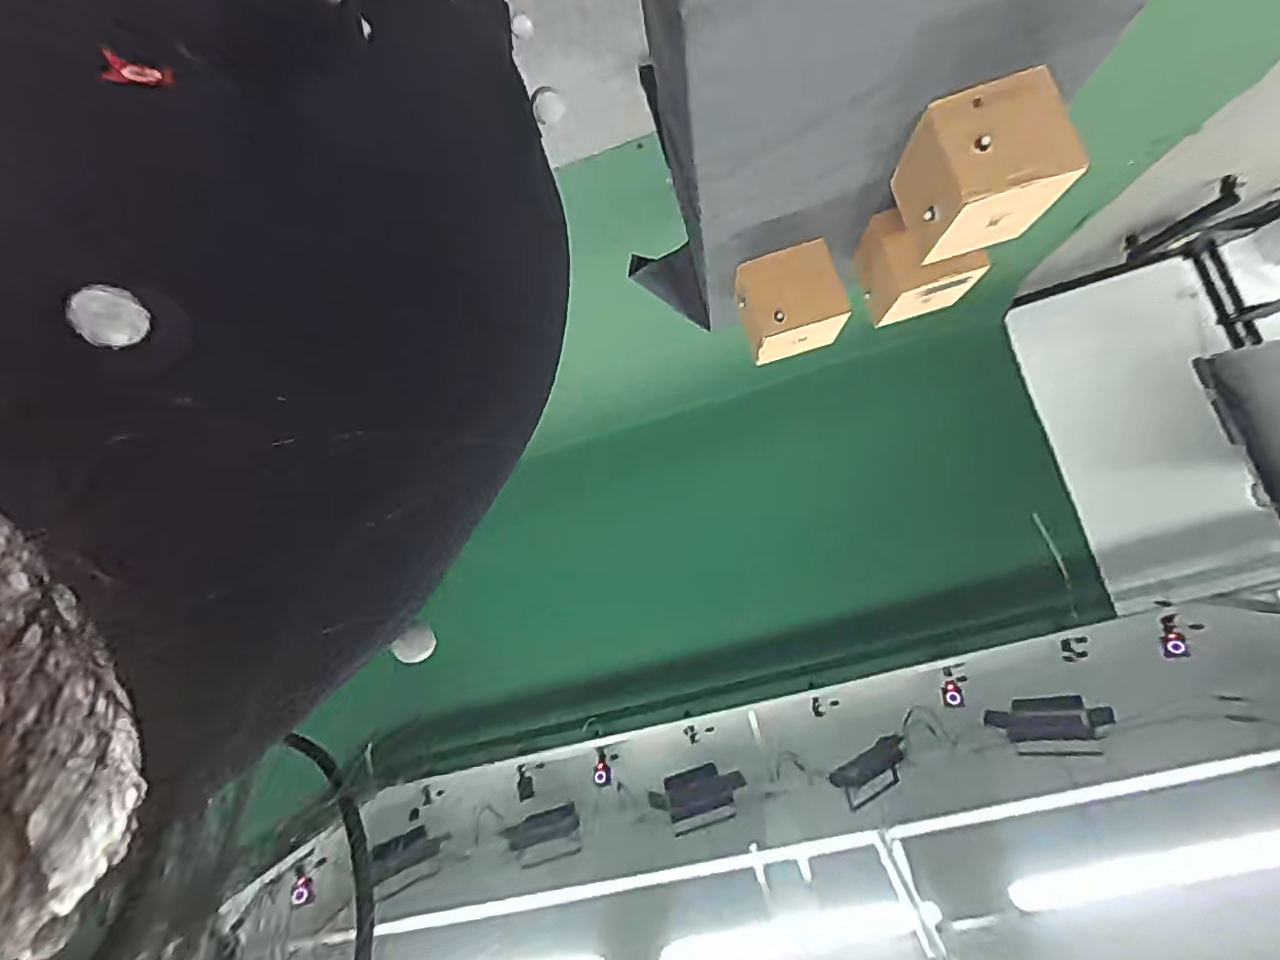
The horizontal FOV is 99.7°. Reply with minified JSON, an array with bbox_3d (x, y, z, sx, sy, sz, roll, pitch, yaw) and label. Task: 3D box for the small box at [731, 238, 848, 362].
[{"bbox_3d":[0.305,-0.376,1.135,0.179,0.176,0.168,-17,172,4],"label":"small box"}]
